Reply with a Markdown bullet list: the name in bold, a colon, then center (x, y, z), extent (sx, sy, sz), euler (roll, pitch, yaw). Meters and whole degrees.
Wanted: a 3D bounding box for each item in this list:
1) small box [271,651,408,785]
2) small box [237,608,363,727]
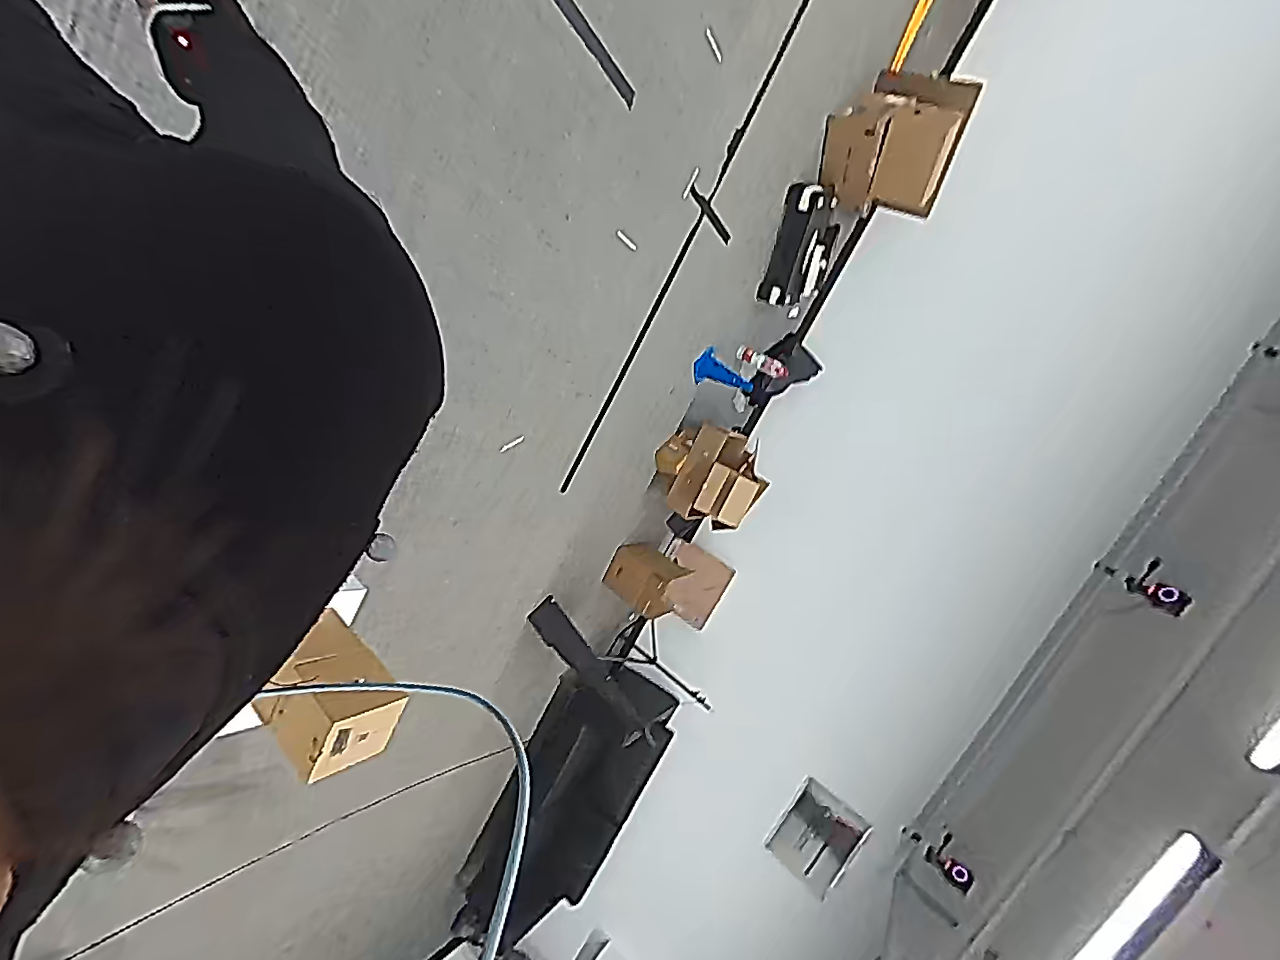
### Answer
- **small box**: center (-0.648, 0.498, 1.161), extent (0.168, 0.176, 0.179), euler (-61, 155, 12)
- **small box**: center (-0.773, 0.417, 1.228), extent (0.179, 0.176, 0.168), euler (-60, 154, 8)
